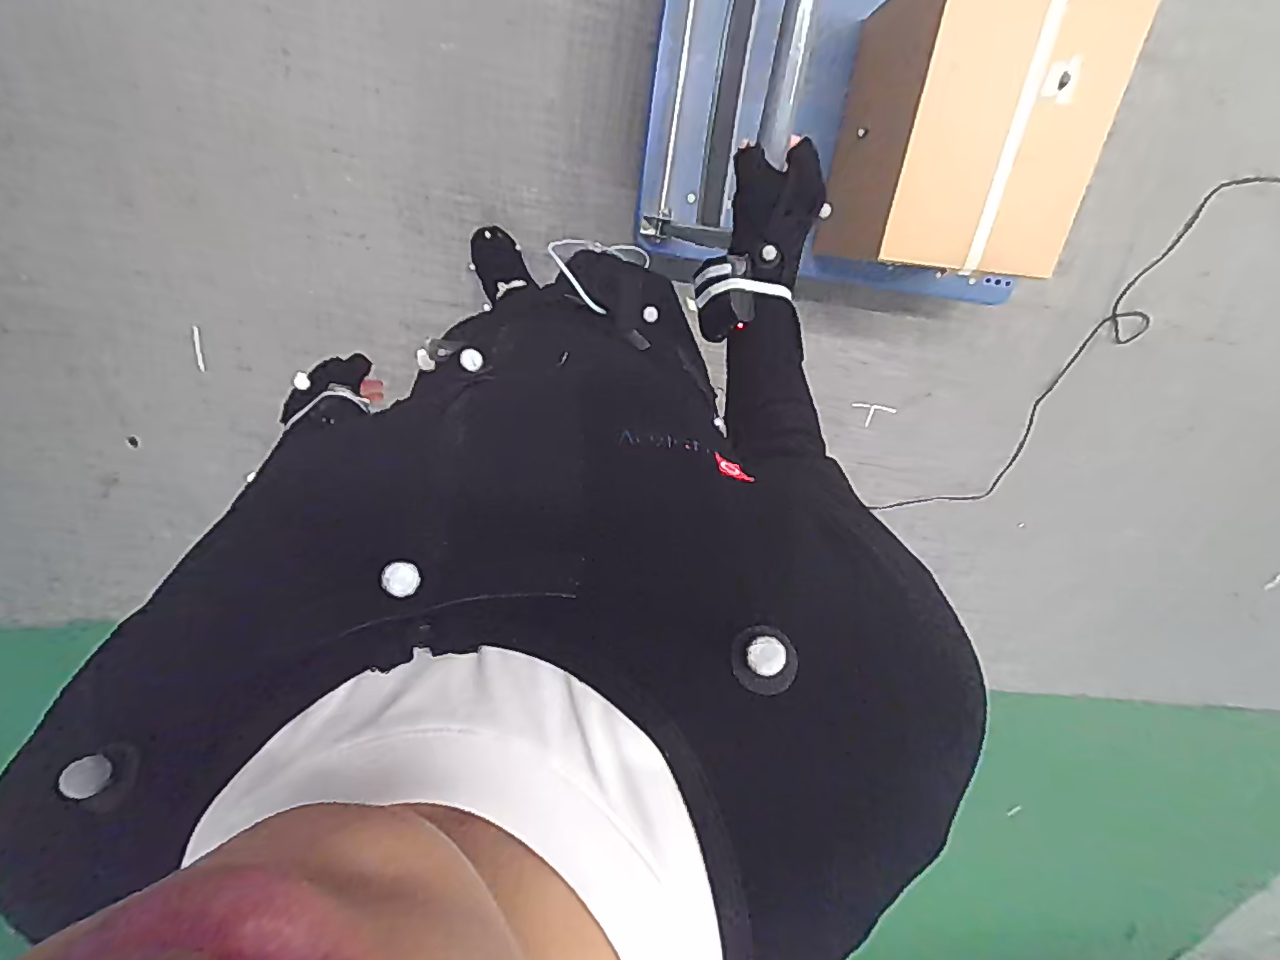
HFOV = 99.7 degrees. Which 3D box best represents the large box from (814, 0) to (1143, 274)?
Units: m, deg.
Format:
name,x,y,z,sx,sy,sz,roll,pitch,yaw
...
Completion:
name,x,y,z,sx,sy,sz,roll,pitch,yaw
large box,0.548,-0.599,0.970,0.320,0.320,0.408,4,113,-7
